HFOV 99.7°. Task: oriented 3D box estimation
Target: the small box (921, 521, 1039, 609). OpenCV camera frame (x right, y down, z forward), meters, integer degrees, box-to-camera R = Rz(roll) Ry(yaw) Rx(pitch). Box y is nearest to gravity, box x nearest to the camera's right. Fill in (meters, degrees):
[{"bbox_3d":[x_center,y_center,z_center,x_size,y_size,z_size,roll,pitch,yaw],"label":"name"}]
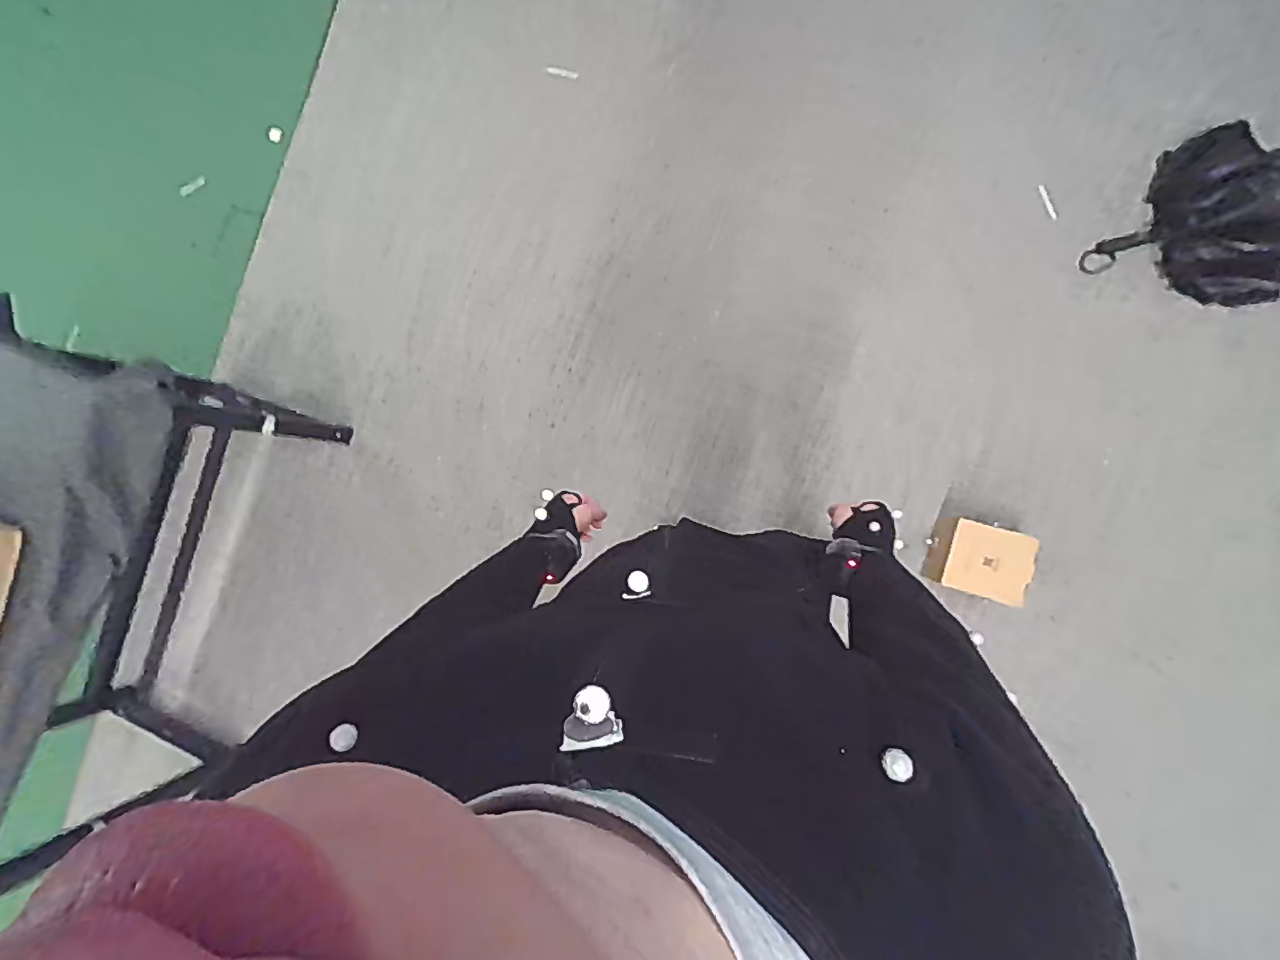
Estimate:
[{"bbox_3d":[0.822,0.199,1.325,0.179,0.176,0.168,16,90,13],"label":"small box"}]
